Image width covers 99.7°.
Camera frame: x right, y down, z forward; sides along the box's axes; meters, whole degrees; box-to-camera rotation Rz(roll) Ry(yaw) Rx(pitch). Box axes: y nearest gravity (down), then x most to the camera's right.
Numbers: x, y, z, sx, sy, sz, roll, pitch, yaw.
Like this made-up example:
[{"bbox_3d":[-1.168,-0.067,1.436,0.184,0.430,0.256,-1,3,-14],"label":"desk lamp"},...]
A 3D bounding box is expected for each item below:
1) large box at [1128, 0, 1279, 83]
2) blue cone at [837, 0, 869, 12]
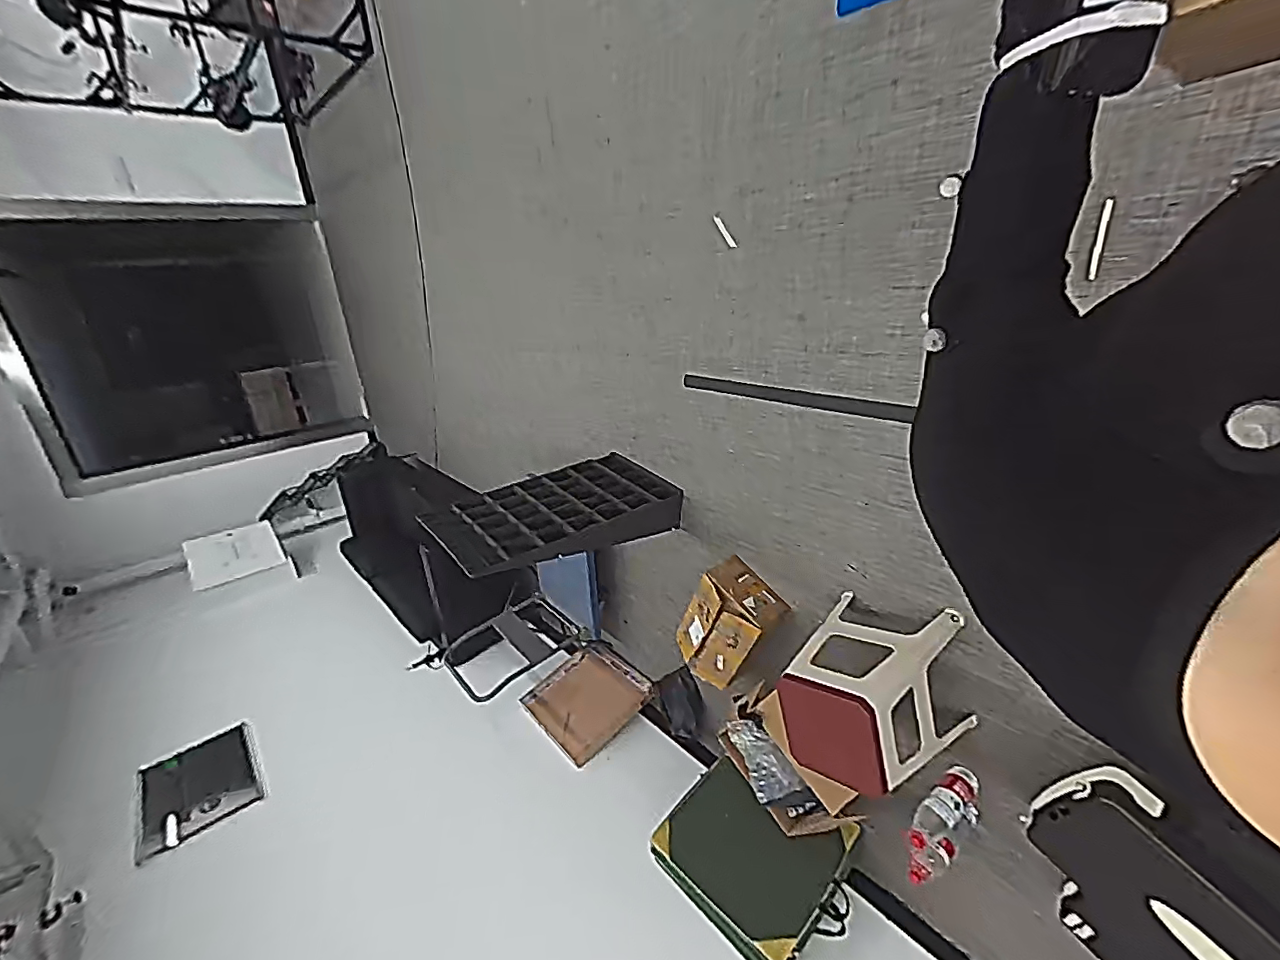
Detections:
[{"bbox_3d":[0.530,-0.458,0.252,0.408,0.320,0.320,12,118,46],"label":"large box"},{"bbox_3d":[0.420,-1.183,1.161,0.192,0.380,0.193,25,125,45],"label":"blue cone"}]
